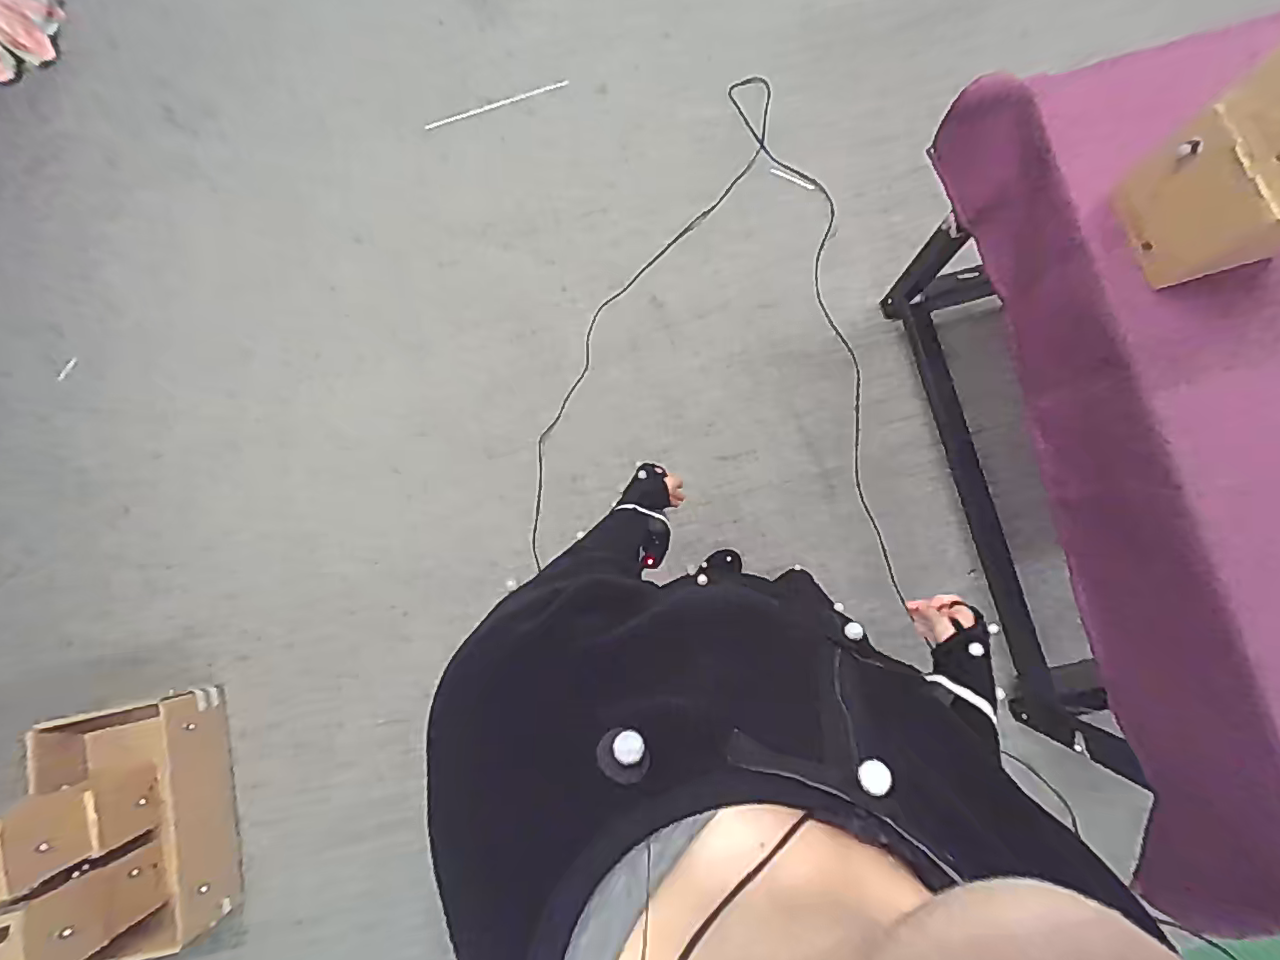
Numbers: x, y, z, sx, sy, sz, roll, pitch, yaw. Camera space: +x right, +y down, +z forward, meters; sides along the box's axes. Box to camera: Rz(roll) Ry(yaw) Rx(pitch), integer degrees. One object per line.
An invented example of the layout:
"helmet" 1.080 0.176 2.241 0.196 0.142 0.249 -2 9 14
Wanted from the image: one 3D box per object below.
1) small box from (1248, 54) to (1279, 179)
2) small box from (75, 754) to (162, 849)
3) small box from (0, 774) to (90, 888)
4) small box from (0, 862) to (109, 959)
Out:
"small box" 0.778 -0.408 0.530 0.179 0.176 0.168 -18 82 2
"small box" -1.455 0.869 1.460 0.179 0.176 0.168 -12 85 3
"small box" -1.489 0.849 1.300 0.168 0.176 0.179 -17 84 3
"small box" -1.415 1.040 1.271 0.168 0.176 0.179 -17 82 2
